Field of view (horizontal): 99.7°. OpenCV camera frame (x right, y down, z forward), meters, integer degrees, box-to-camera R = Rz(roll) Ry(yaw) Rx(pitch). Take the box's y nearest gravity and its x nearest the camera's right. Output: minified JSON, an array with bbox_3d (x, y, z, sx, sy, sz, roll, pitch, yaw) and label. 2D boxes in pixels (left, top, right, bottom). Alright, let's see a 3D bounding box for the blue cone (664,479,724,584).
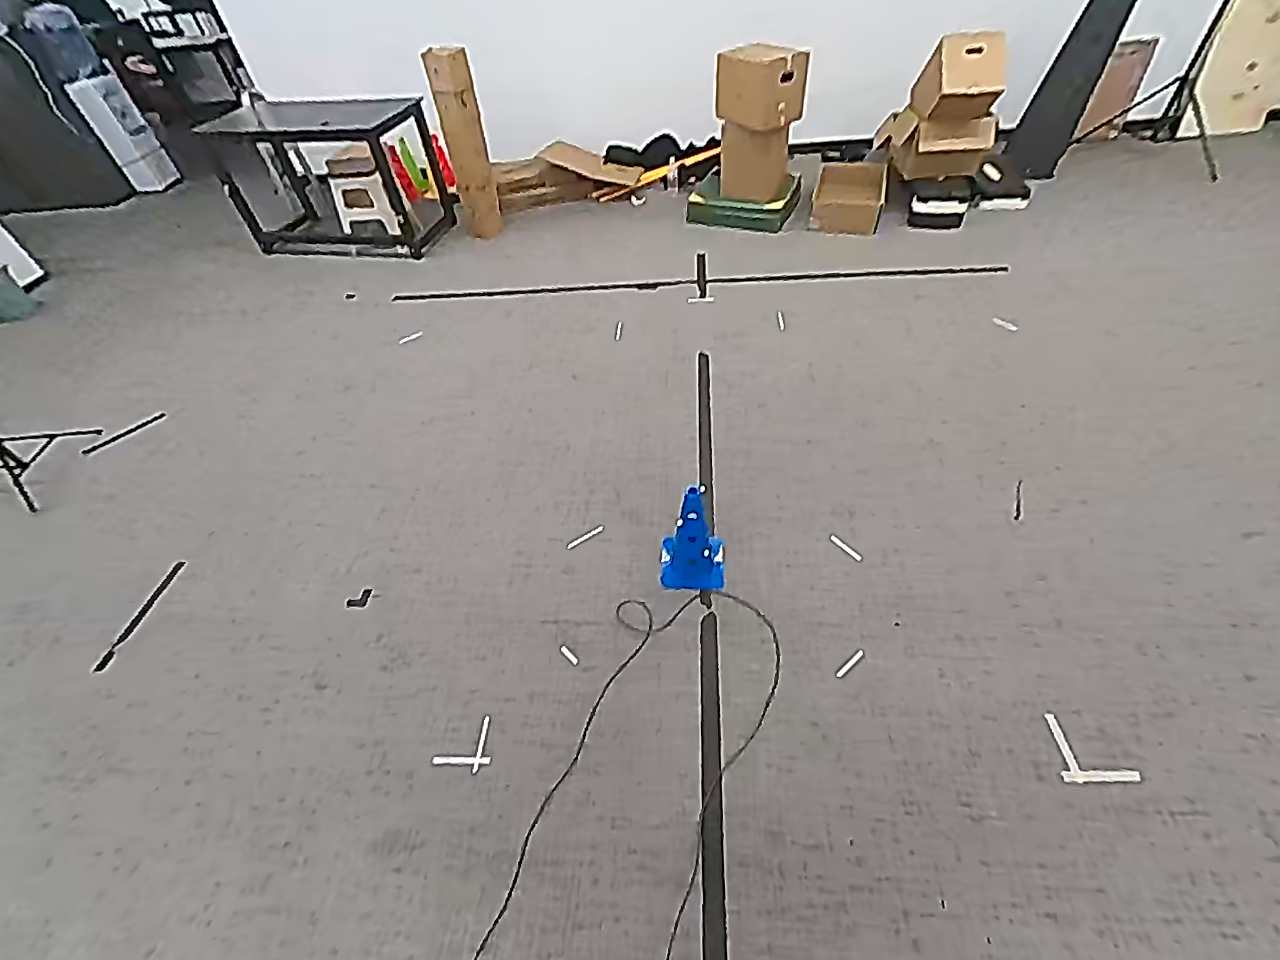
[{"bbox_3d":[0.159,0.142,1.612,0.193,0.380,0.192,-2,48,5],"label":"blue cone"}]
